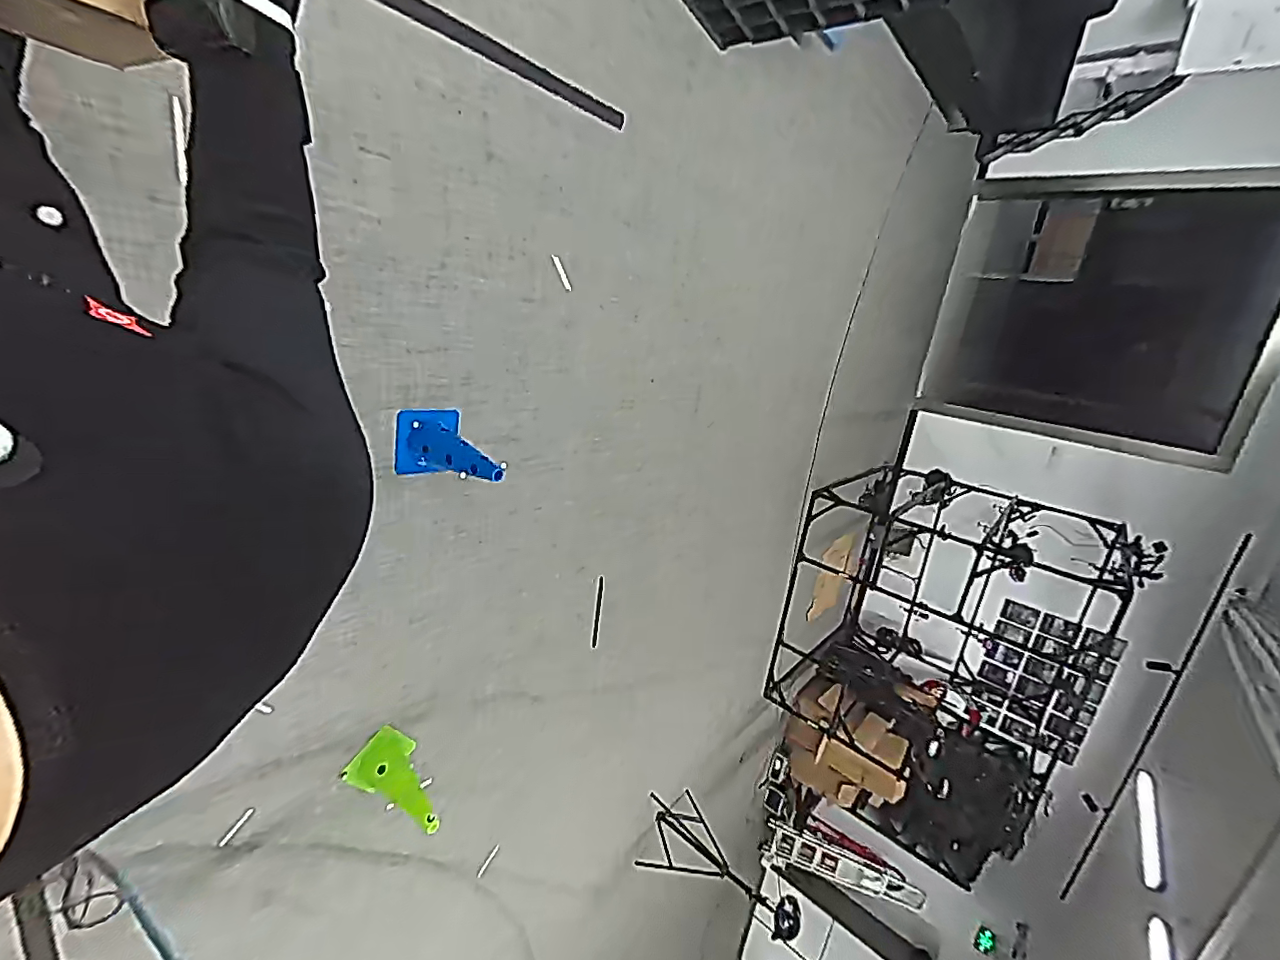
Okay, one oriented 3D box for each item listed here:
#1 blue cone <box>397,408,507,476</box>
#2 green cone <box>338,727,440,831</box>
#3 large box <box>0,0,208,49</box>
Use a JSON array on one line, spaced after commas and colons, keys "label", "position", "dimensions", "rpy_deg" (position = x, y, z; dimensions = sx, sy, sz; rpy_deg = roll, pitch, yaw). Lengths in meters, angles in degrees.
[{"label": "blue cone", "position": [-0.523, -0.078, 1.553], "dimensions": [0.192, 0.380, 0.193], "rpy_deg": [-8, 114, -52]}, {"label": "green cone", "position": [-0.768, 1.009, 1.750], "dimensions": [0.202, 0.368, 0.200], "rpy_deg": [-50, 141, -26]}, {"label": "large box", "position": [-0.514, -0.494, 0.267], "dimensions": [0.408, 0.320, 0.320], "rpy_deg": [-10, 121, -51]}]
